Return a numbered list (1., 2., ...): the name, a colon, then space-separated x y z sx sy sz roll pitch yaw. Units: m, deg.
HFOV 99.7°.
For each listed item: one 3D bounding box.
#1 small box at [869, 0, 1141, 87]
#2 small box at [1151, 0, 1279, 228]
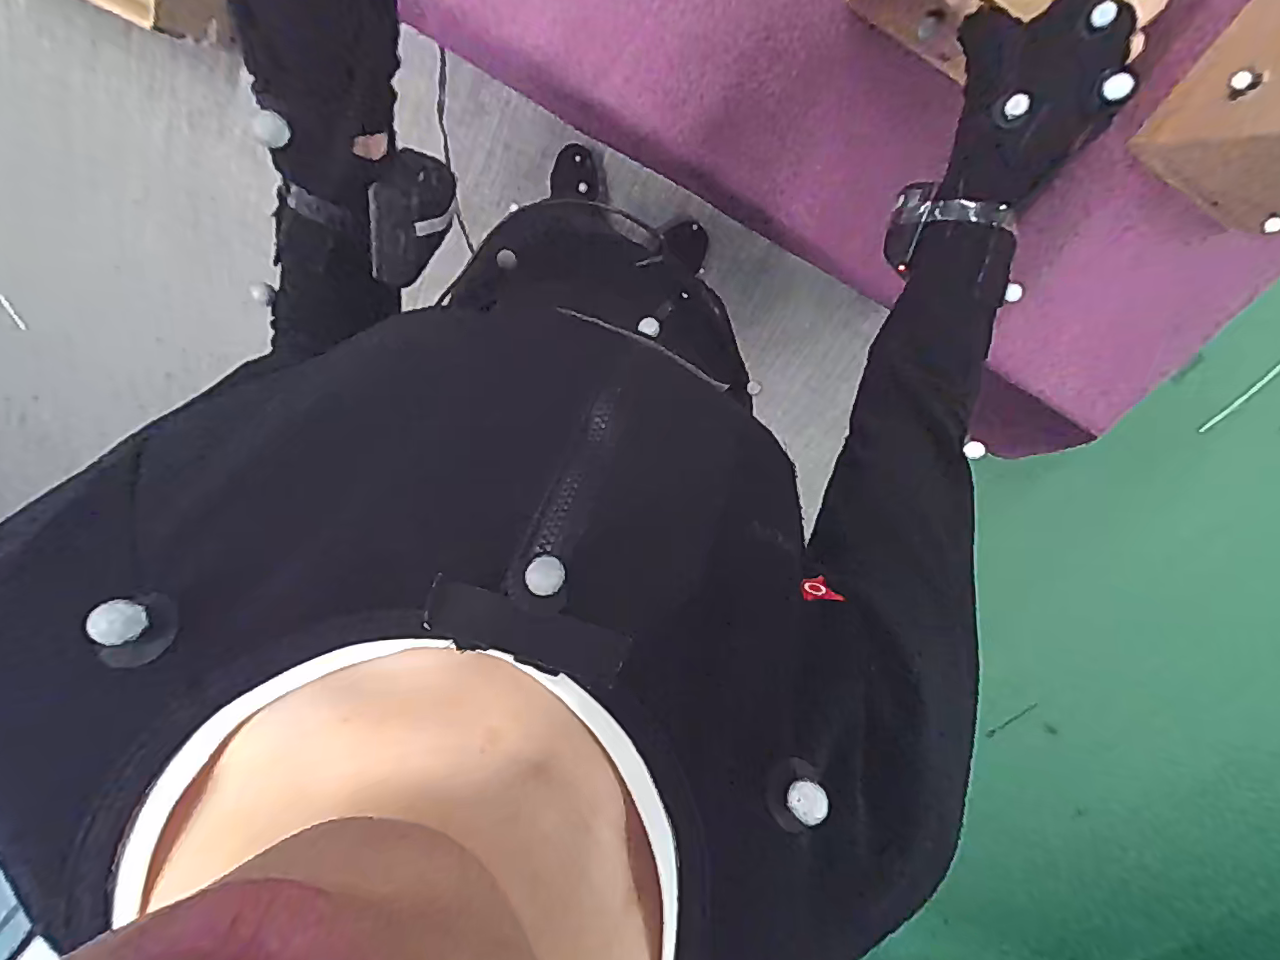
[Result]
1. small box: 0.298 -0.437 0.407 0.168 0.176 0.179 25 118 -11
2. small box: 0.596 -0.327 0.451 0.168 0.176 0.179 27 117 -12
